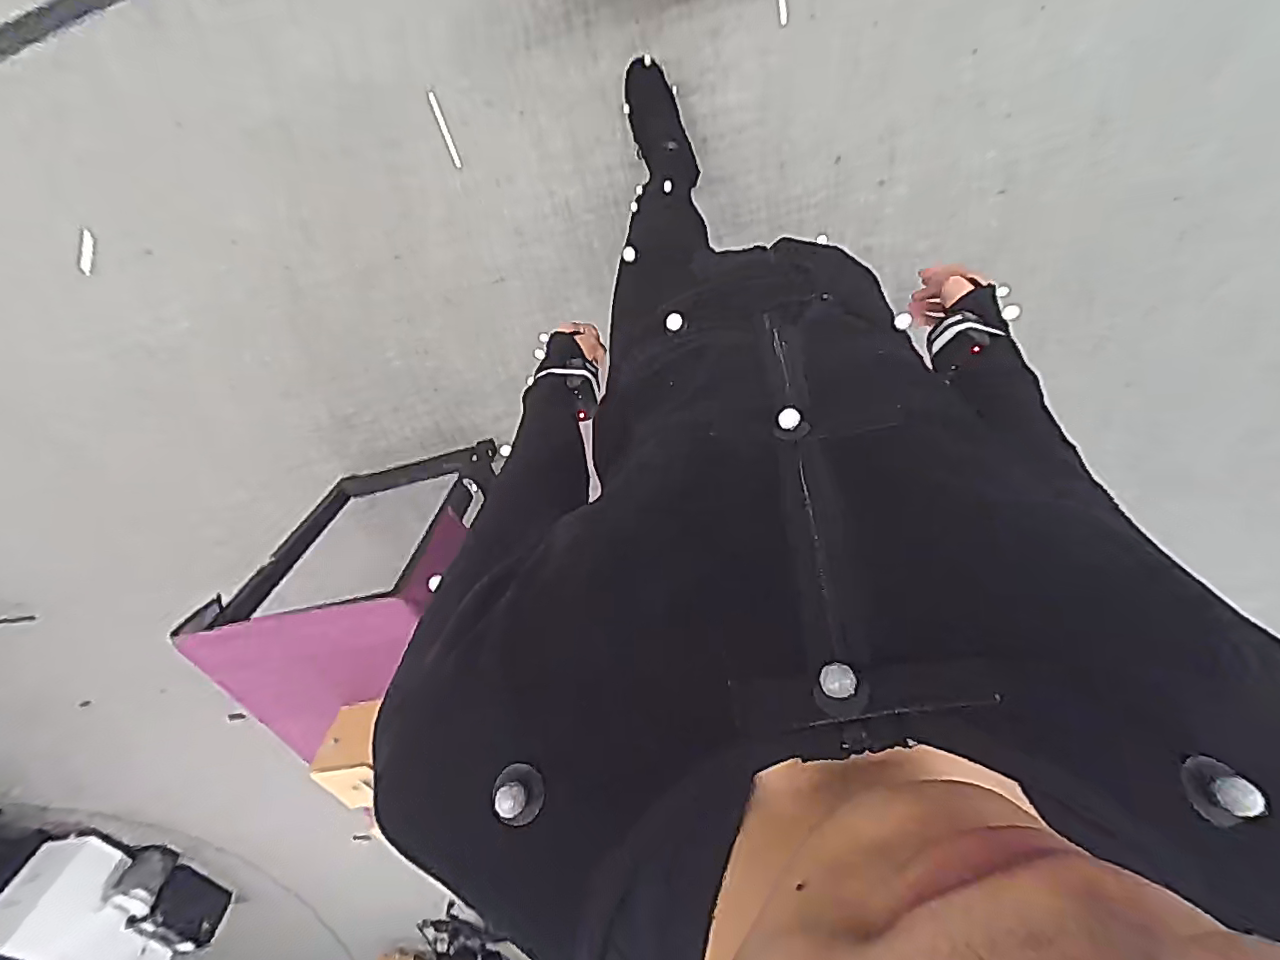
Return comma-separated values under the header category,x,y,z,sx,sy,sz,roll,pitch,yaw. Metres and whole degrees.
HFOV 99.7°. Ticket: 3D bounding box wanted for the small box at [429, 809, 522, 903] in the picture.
category,x,y,z,sx,sy,sz,roll,pitch,yaw
small box,-0.470,1.094,1.576,0.179,0.176,0.168,-21,120,15
